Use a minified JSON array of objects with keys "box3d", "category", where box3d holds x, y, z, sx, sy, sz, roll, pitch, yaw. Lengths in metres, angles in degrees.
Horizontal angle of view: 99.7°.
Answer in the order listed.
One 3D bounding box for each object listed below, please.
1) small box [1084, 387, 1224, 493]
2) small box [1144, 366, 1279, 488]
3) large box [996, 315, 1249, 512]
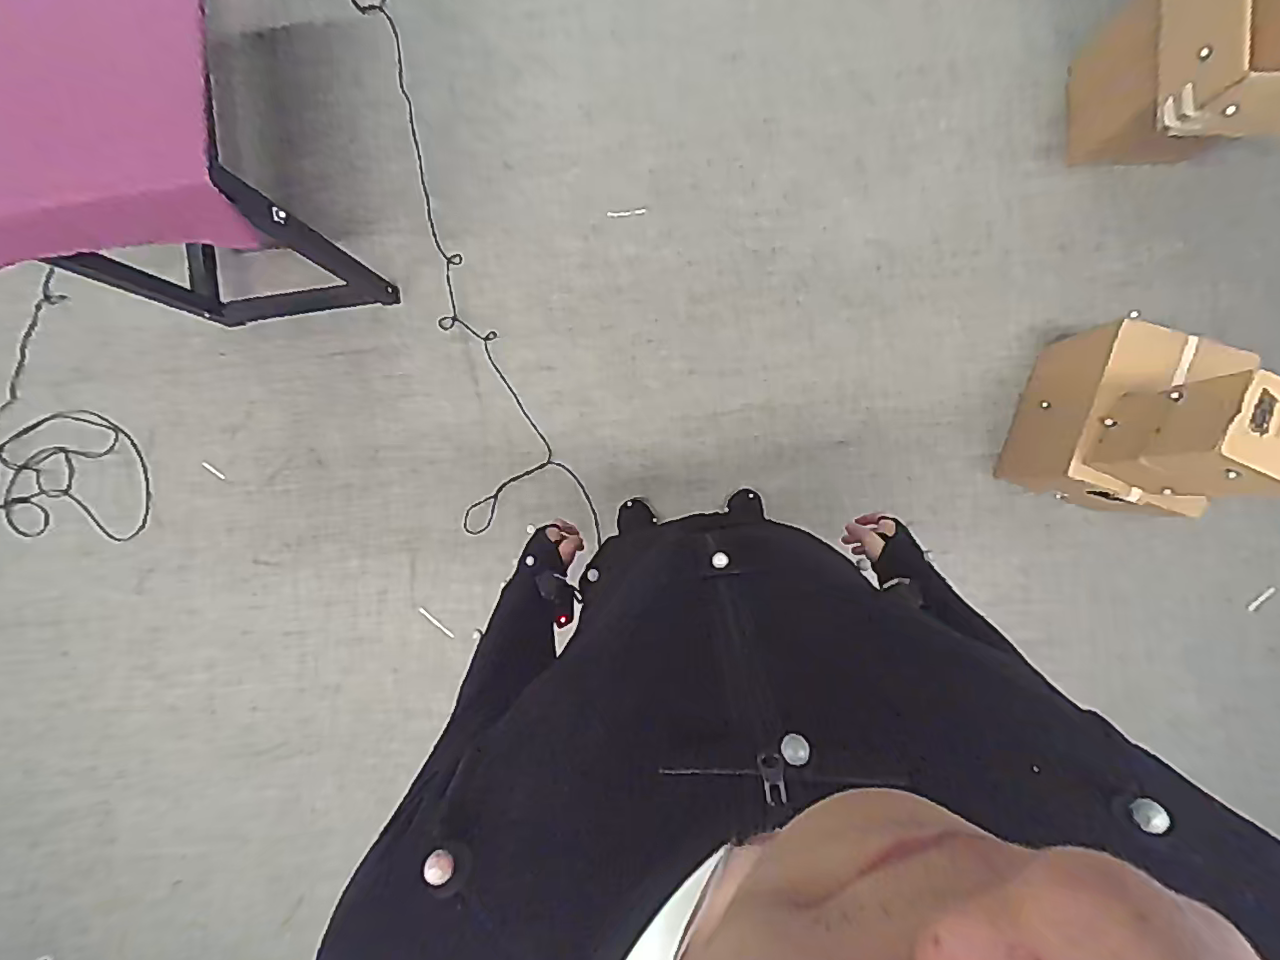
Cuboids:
[{"box3d":[1.140,-0.083,1.177,0.179,0.176,0.168,25,92,5],"category":"small box"},{"box3d":[1.122,-0.089,1.015,0.179,0.176,0.168,26,91,4],"category":"small box"},{"box3d":[1.224,-0.155,1.416,0.320,0.320,0.408,19,91,3],"category":"large box"}]
